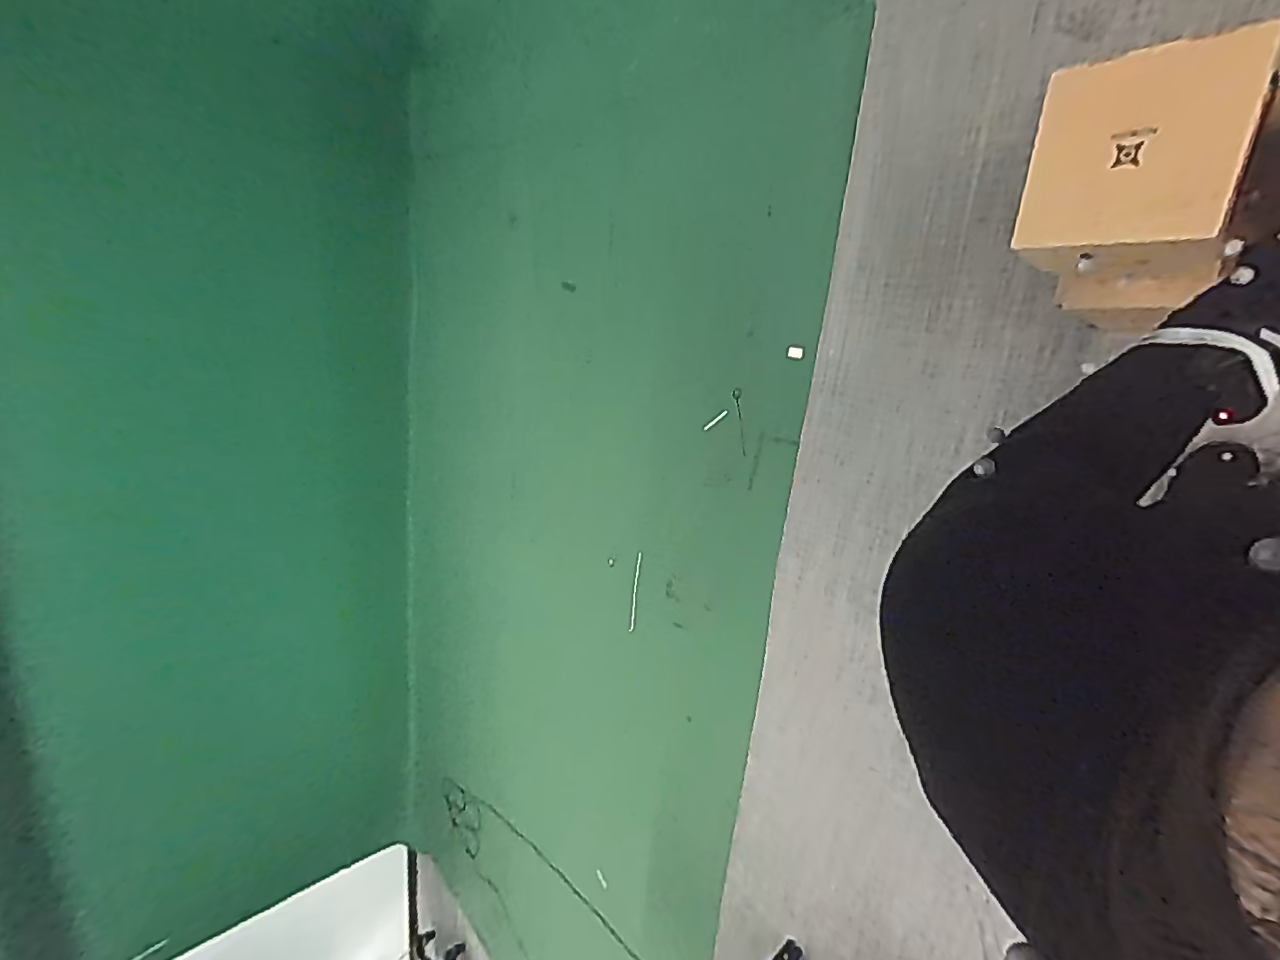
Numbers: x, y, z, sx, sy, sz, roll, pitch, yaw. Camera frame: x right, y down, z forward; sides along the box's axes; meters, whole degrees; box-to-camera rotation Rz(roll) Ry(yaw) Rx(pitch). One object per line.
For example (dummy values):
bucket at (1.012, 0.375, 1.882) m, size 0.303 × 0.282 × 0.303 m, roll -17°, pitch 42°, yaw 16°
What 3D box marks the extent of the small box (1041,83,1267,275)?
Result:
small box at (0.659, -0.372, 0.706) m, size 0.168 × 0.176 × 0.179 m, roll 20°, pitch 112°, yaw 42°
